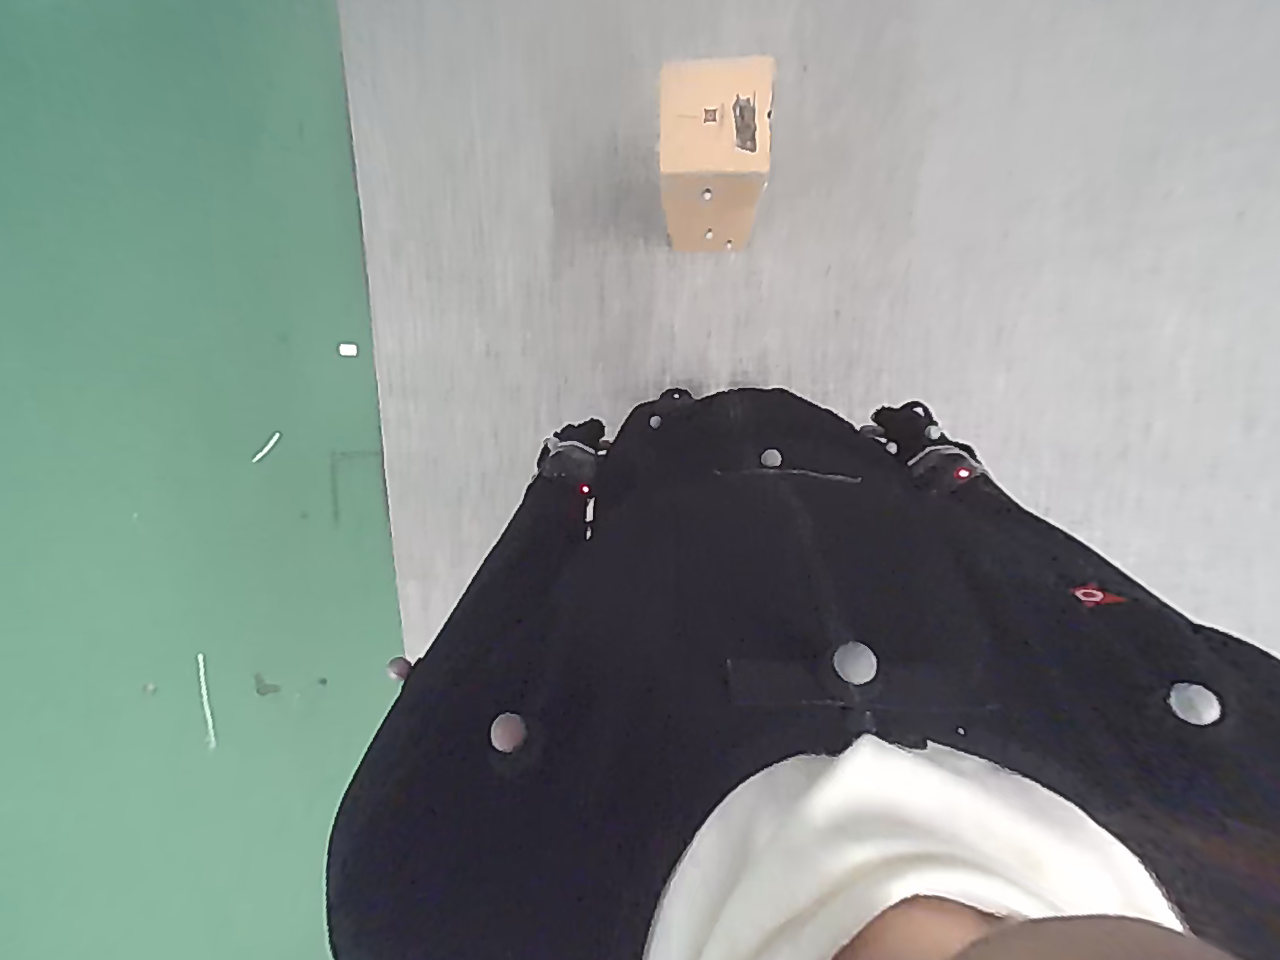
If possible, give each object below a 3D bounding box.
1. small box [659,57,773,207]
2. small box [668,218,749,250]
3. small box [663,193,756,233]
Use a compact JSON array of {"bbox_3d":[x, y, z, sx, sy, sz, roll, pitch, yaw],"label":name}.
[{"bbox_3d":[0.122,-0.581,0.924,0.179,0.176,0.168,-1,99,4],"label":"small box"},{"bbox_3d":[0.156,-0.640,1.246,0.179,0.176,0.168,0,99,6],"label":"small box"},{"bbox_3d":[0.140,-0.607,1.086,0.179,0.176,0.168,4,100,4],"label":"small box"}]
